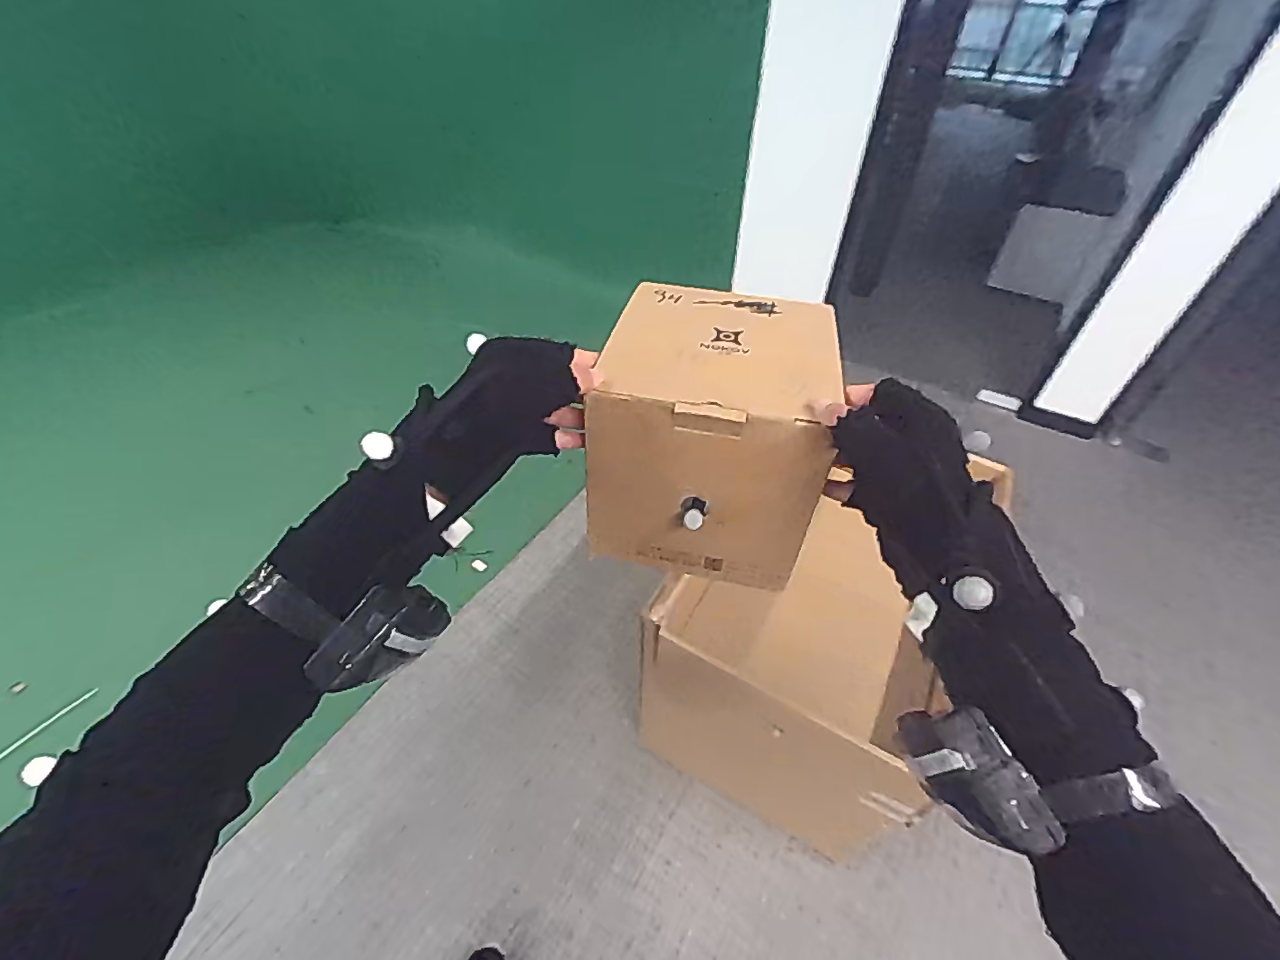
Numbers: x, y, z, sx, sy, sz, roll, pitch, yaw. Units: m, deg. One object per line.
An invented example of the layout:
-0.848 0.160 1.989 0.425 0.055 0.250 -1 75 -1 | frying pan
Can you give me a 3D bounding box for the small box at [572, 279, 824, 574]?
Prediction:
0.050 -0.045 0.456 0.168 0.176 0.179 10 45 6 | small box
